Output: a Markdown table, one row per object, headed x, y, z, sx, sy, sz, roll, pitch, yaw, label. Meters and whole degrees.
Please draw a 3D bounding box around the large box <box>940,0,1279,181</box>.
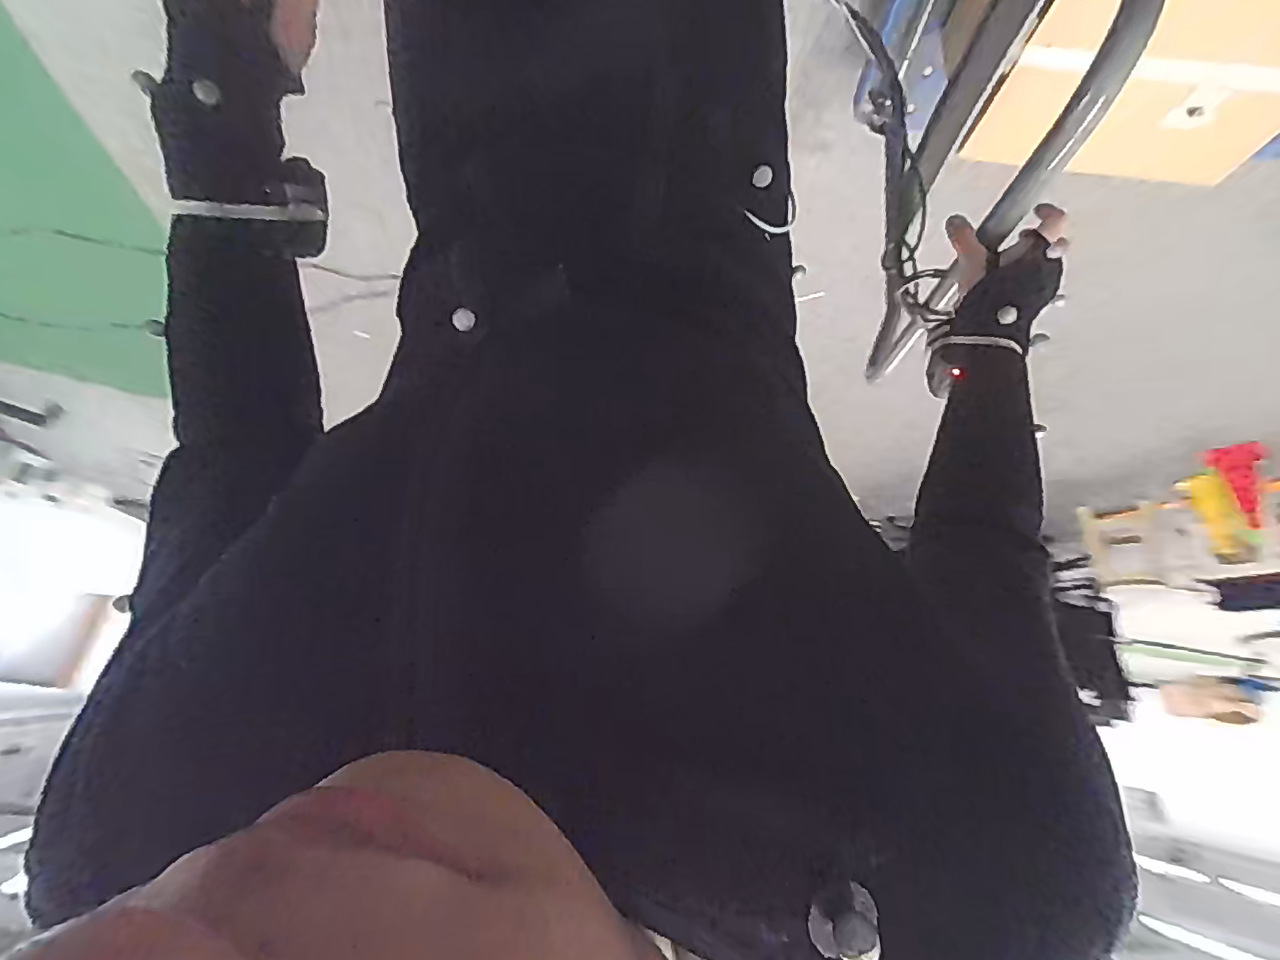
| x | y | z | sx | sy | sz | roll | pitch | yaw | label |
| --- | --- | --- | --- | --- | --- | --- | --- | --- | --- |
| 0.713 | -0.681 | 0.763 | 0.408 | 0.320 | 0.320 | 7 | 158 | 1 | large box |
